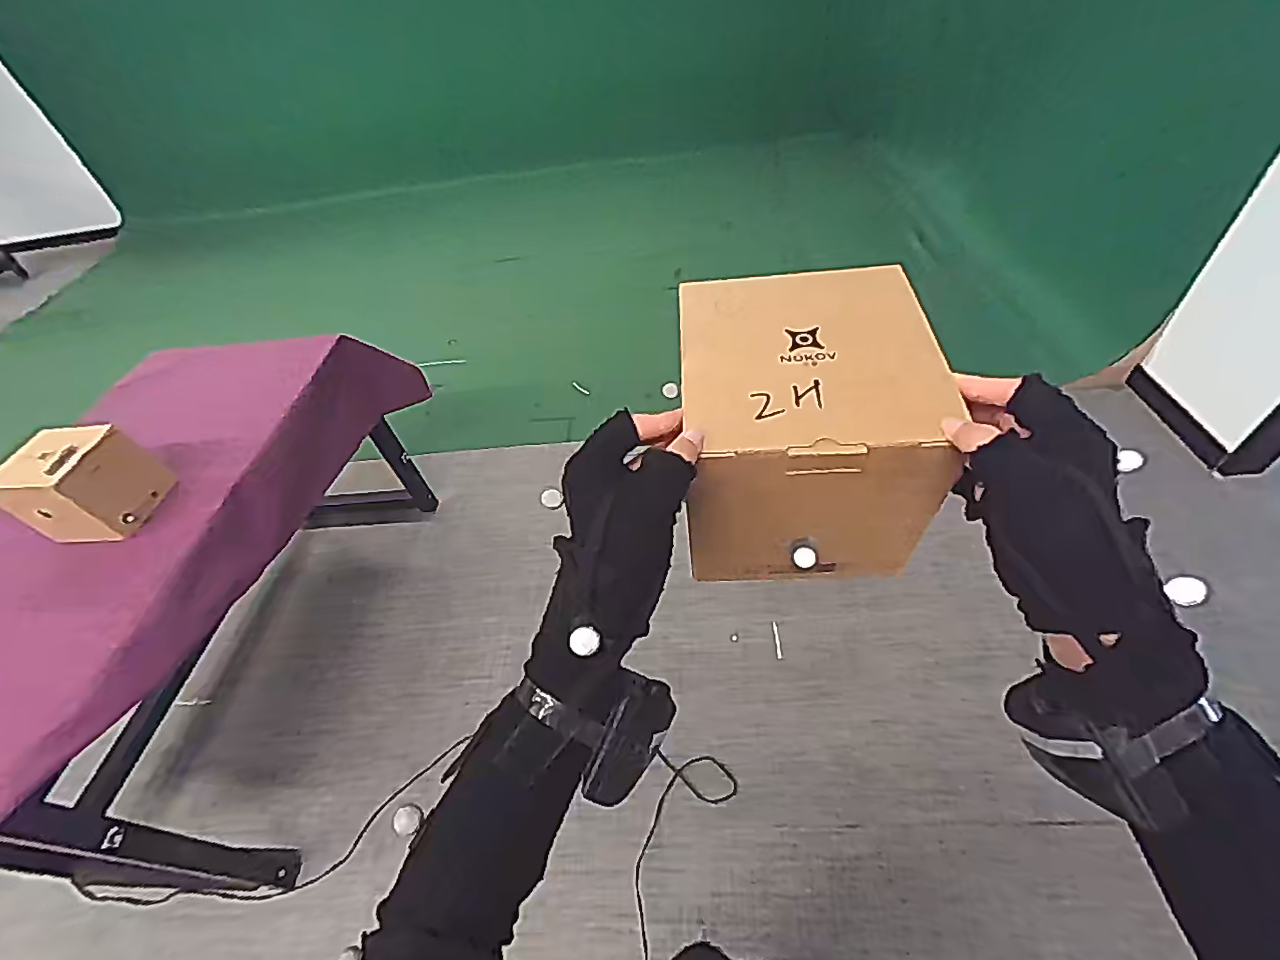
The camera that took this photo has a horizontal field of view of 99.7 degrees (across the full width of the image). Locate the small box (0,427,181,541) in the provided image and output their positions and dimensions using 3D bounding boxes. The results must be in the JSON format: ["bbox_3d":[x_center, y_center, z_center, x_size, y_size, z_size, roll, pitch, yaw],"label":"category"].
[{"bbox_3d":[-1.107,0.011,1.099,0.179,0.176,0.168,-3,48,9],"label":"small box"}]

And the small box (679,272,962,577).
[{"bbox_3d":[0.118,-0.038,0.433,0.168,0.176,0.179,-3,53,7],"label":"small box"}]
